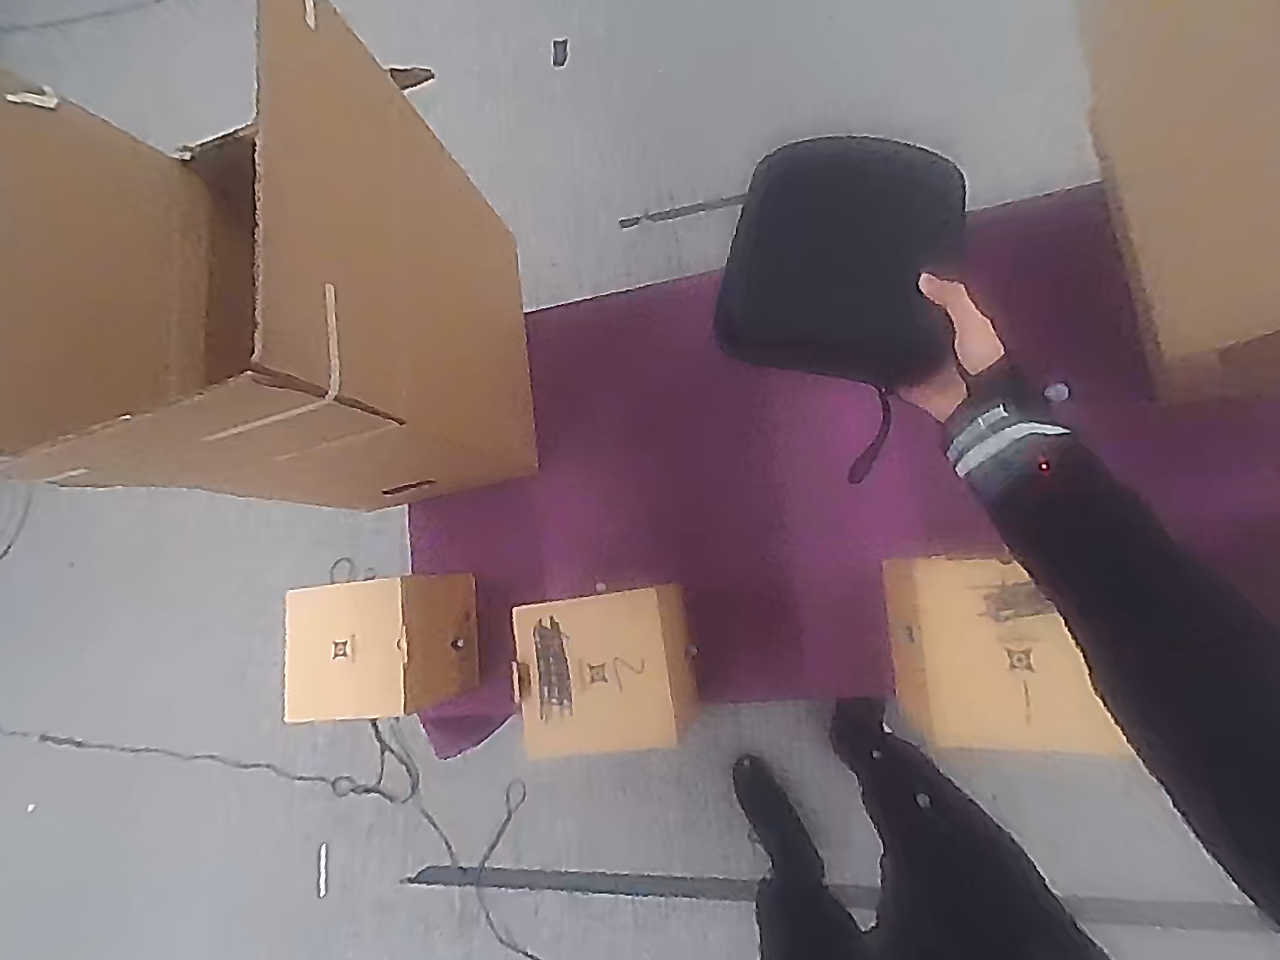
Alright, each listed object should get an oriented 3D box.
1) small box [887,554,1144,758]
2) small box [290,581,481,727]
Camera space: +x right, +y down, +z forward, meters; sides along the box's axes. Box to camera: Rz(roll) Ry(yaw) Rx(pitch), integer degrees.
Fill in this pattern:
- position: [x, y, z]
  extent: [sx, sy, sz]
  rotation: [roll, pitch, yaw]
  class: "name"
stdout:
- position: [0.371, 0.172, 0.573]
  extent: [0.168, 0.176, 0.179]
  rotation: [-5, 80, 14]
  class: "small box"
- position: [-0.342, 0.231, 0.748]
  extent: [0.179, 0.176, 0.168]
  rotation: [-9, 79, 12]
  class: "small box"
